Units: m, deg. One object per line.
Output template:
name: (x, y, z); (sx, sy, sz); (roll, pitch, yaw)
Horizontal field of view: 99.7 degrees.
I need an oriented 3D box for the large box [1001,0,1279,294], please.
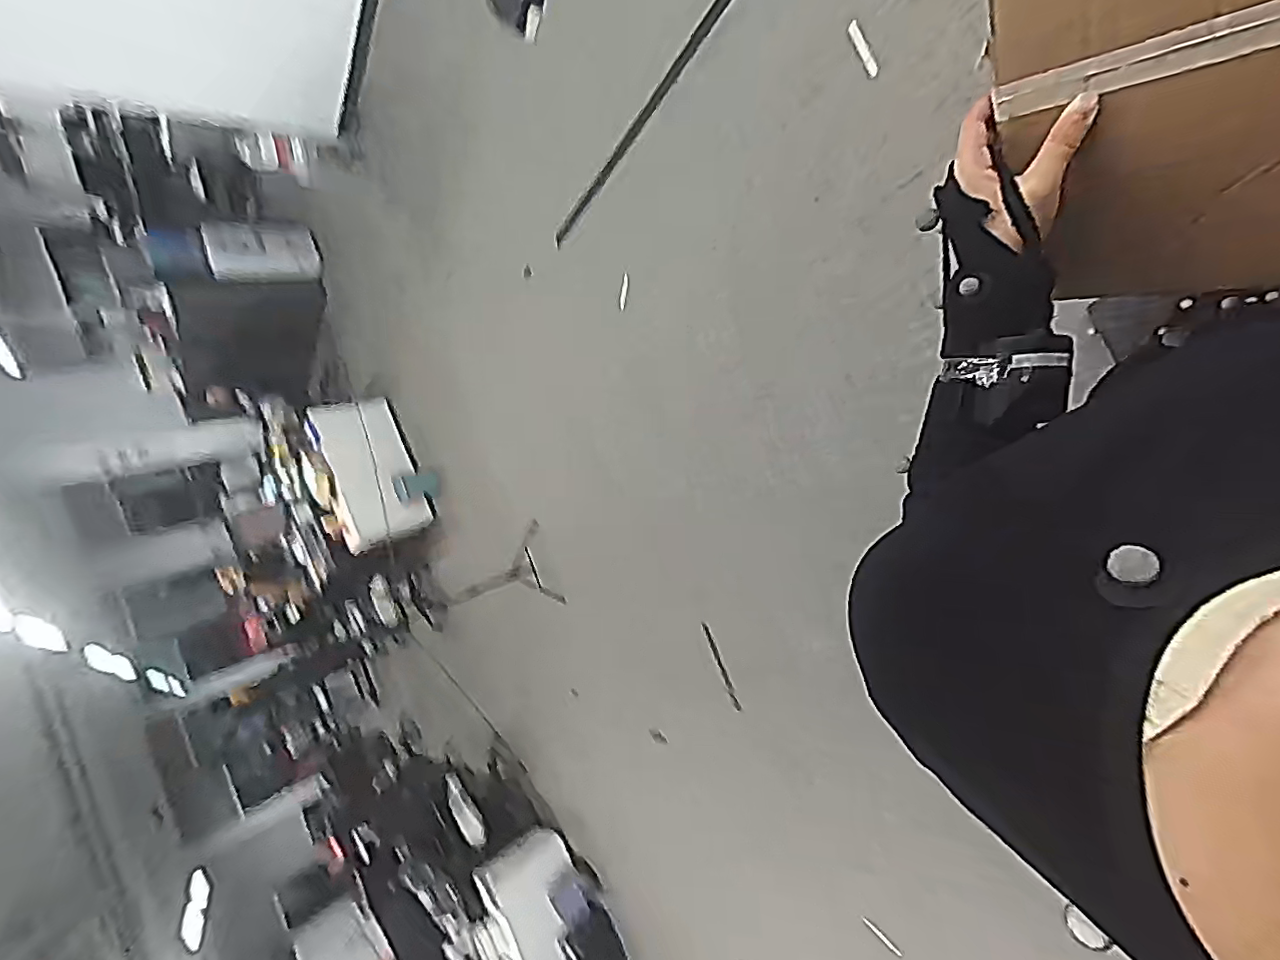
large box: (0.461, -0.331, 0.269); (0.408, 0.320, 0.320); (15, 150, 47)
